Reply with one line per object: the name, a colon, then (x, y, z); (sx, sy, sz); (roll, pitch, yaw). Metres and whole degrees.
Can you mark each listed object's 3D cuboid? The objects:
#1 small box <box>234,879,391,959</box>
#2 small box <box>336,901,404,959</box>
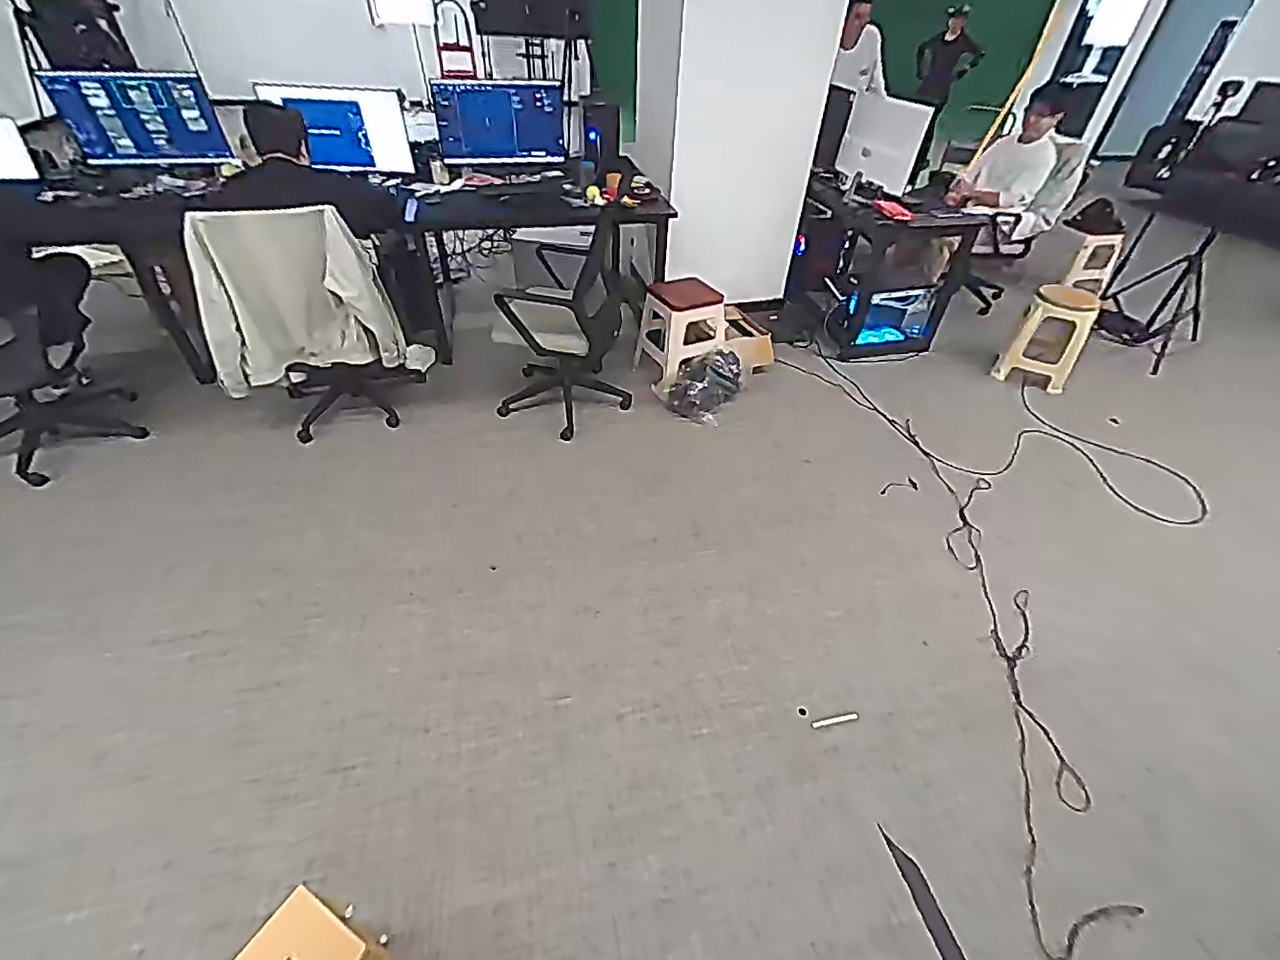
small box: (-0.570, 0.850, 0.938); (0.179, 0.176, 0.168); (23, 45, 20)
small box: (-0.576, 0.974, 1.045); (0.179, 0.176, 0.168); (22, 45, 21)
